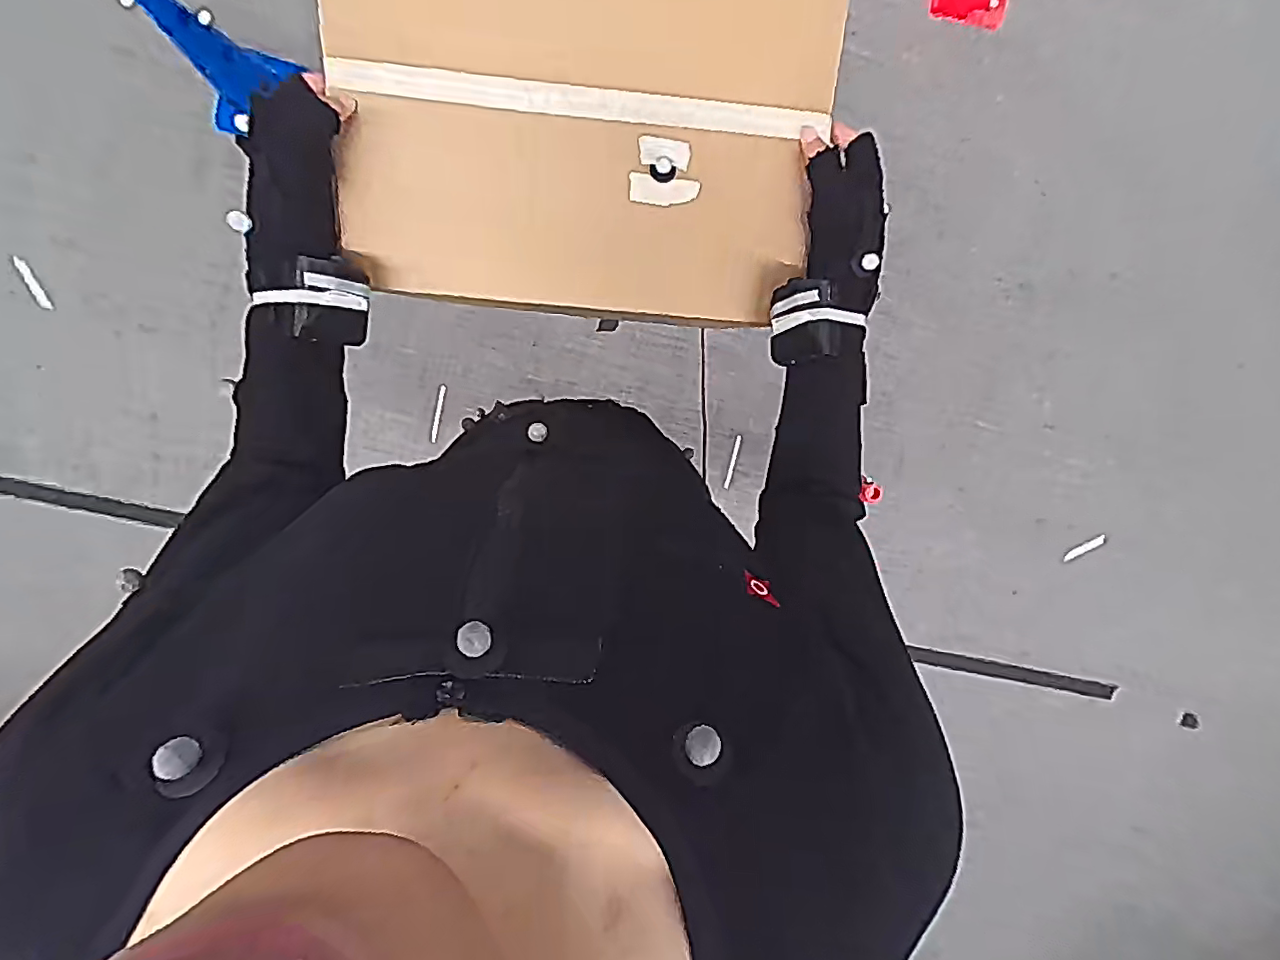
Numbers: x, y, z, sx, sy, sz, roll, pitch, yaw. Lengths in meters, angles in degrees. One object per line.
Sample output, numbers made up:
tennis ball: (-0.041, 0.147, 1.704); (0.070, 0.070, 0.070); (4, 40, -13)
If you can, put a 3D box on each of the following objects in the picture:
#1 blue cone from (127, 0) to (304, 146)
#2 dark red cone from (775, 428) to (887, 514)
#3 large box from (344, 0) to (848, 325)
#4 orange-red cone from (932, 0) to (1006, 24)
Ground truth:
blue cone: (-0.908, -0.898, 1.142); (0.192, 0.380, 0.193); (16, 97, -4)
dark red cone: (0.489, 0.002, 1.309); (0.201, 0.394, 0.202); (18, 96, -5)
large box: (-0.047, -0.346, 0.587); (0.408, 0.320, 0.320); (4, 105, -5)
orange-red cone: (0.847, -1.241, 1.178); (0.198, 0.360, 0.199); (10, 96, -6)
